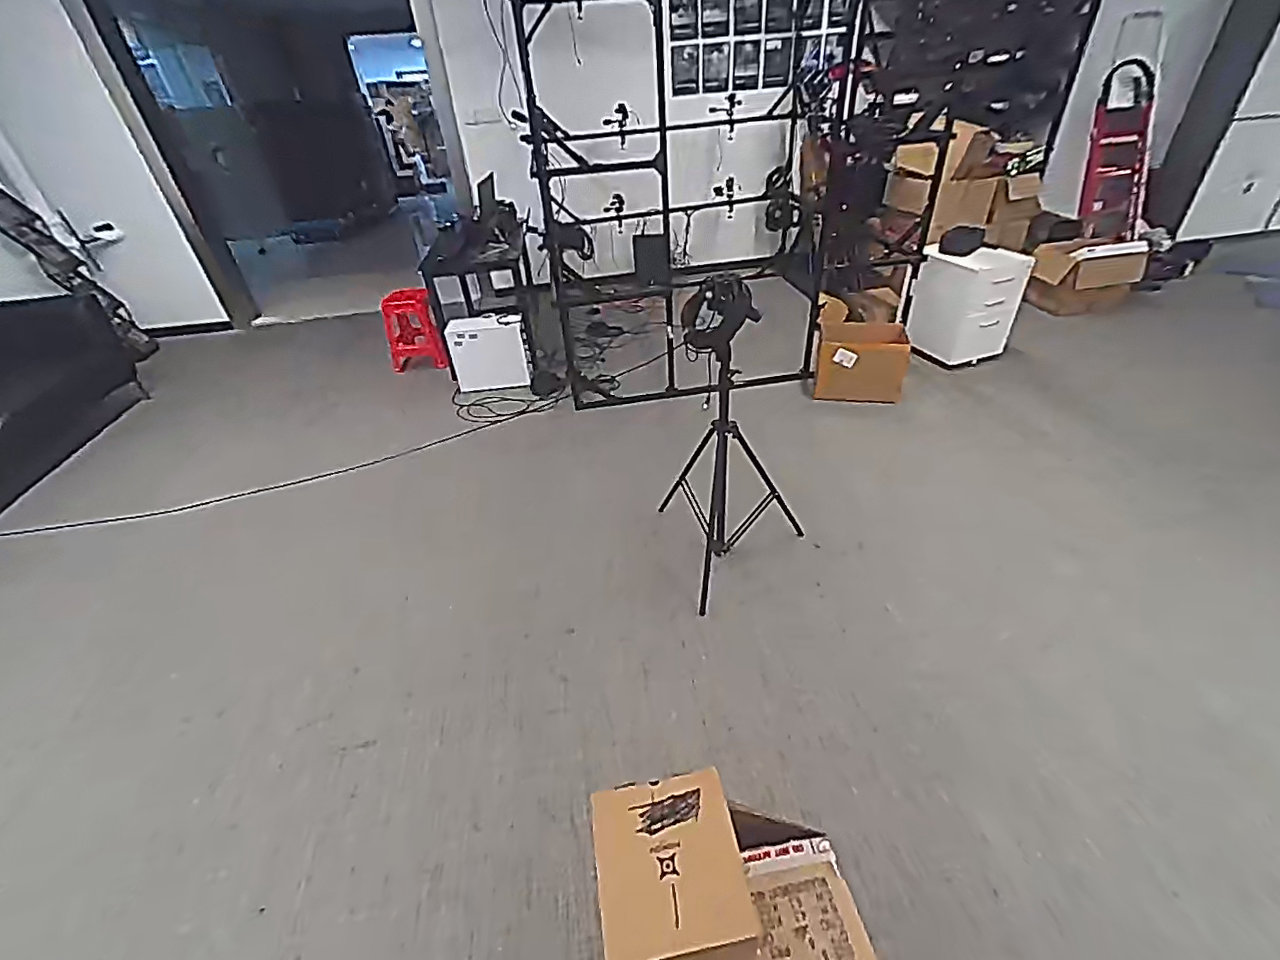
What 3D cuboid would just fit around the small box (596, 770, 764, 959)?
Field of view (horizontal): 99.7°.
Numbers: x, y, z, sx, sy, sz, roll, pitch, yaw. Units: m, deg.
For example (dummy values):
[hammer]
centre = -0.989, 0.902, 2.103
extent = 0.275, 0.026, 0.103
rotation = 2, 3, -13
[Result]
[small box]
centre = 0.043, 0.497, 0.666
extent = 0.168, 0.176, 0.179
rotation = -10, 39, -4
